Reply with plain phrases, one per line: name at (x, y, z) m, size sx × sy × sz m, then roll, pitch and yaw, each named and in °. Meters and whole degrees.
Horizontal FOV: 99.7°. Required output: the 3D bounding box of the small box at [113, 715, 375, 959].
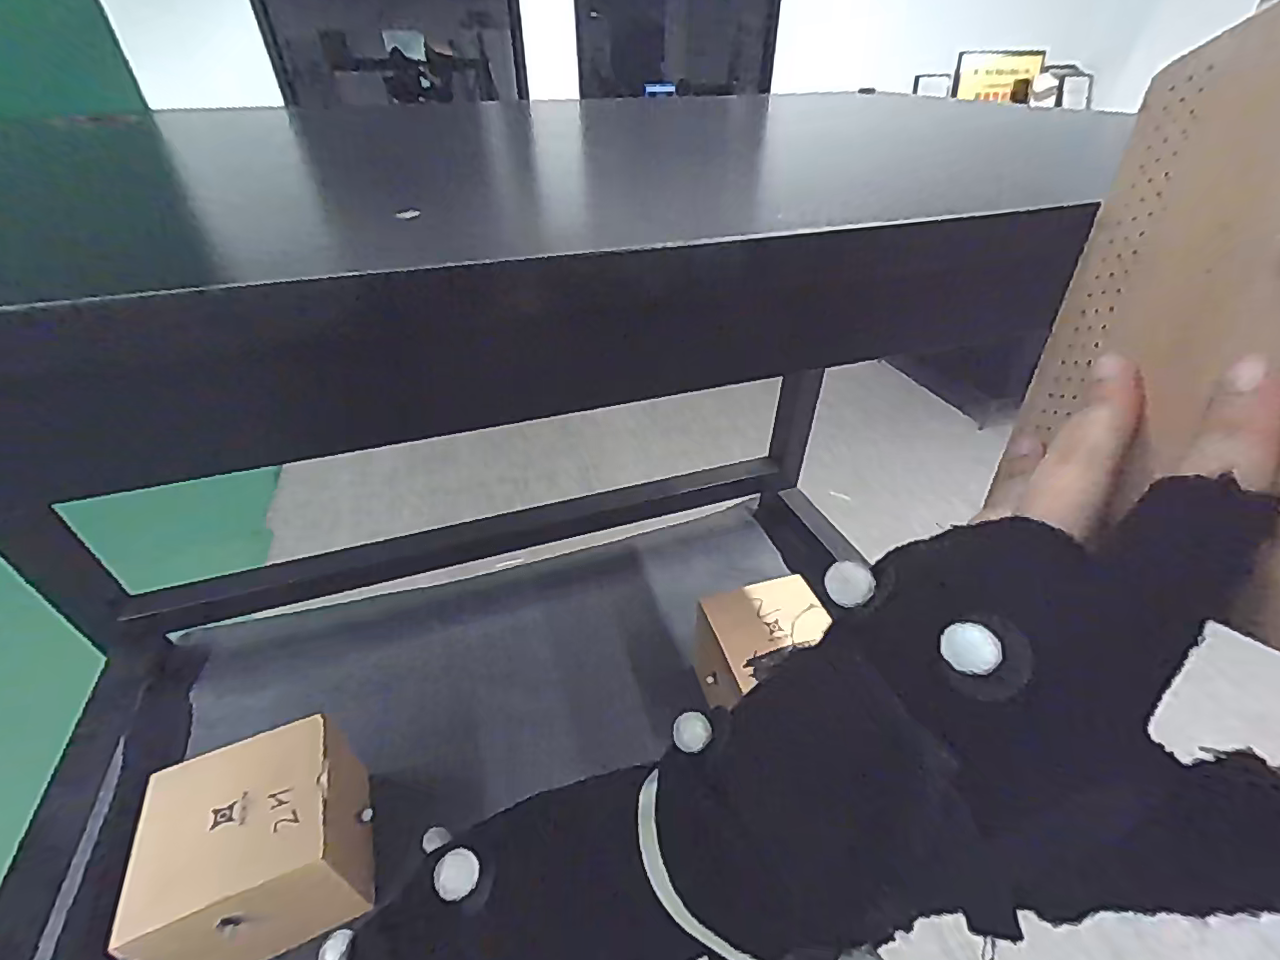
small box at (-0.421, 0.410, 0.613) m, size 0.179 × 0.176 × 0.168 m, roll -15°, pitch 41°, yaw -19°
